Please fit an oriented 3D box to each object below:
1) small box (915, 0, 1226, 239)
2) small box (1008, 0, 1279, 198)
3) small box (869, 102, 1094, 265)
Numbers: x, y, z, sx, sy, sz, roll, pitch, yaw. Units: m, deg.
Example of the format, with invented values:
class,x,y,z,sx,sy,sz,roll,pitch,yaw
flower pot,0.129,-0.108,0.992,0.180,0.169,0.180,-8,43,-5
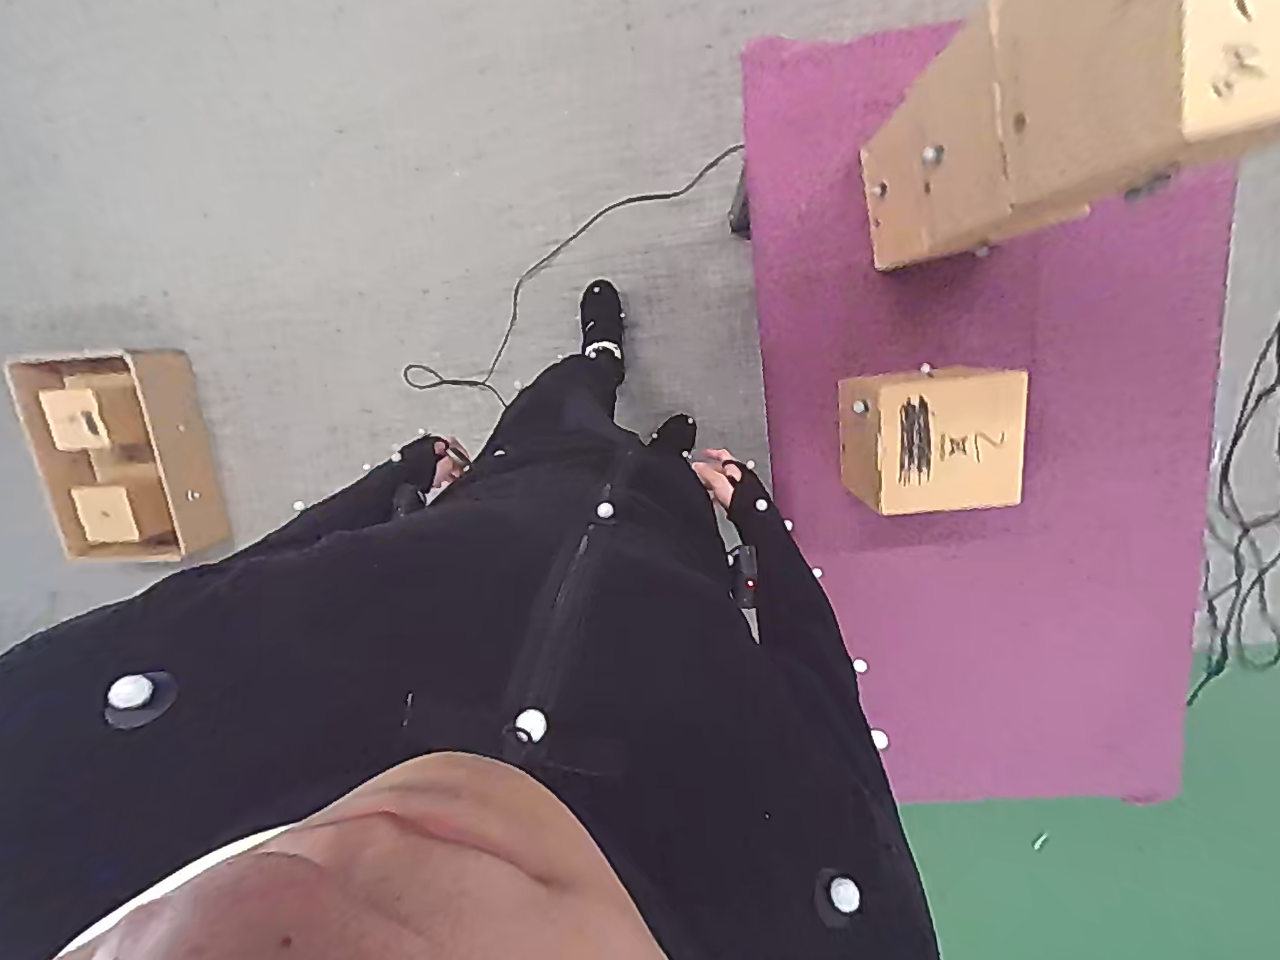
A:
class,x,y,z,sx,sy,sz,roll,pitch,yaw
small box,0.385,-0.341,0.500,0.179,0.176,0.168,-12,102,8
small box,0.373,-0.301,0.342,0.179,0.176,0.168,-10,103,7
small box,0.402,-0.374,0.661,0.179,0.176,0.168,-11,103,9
